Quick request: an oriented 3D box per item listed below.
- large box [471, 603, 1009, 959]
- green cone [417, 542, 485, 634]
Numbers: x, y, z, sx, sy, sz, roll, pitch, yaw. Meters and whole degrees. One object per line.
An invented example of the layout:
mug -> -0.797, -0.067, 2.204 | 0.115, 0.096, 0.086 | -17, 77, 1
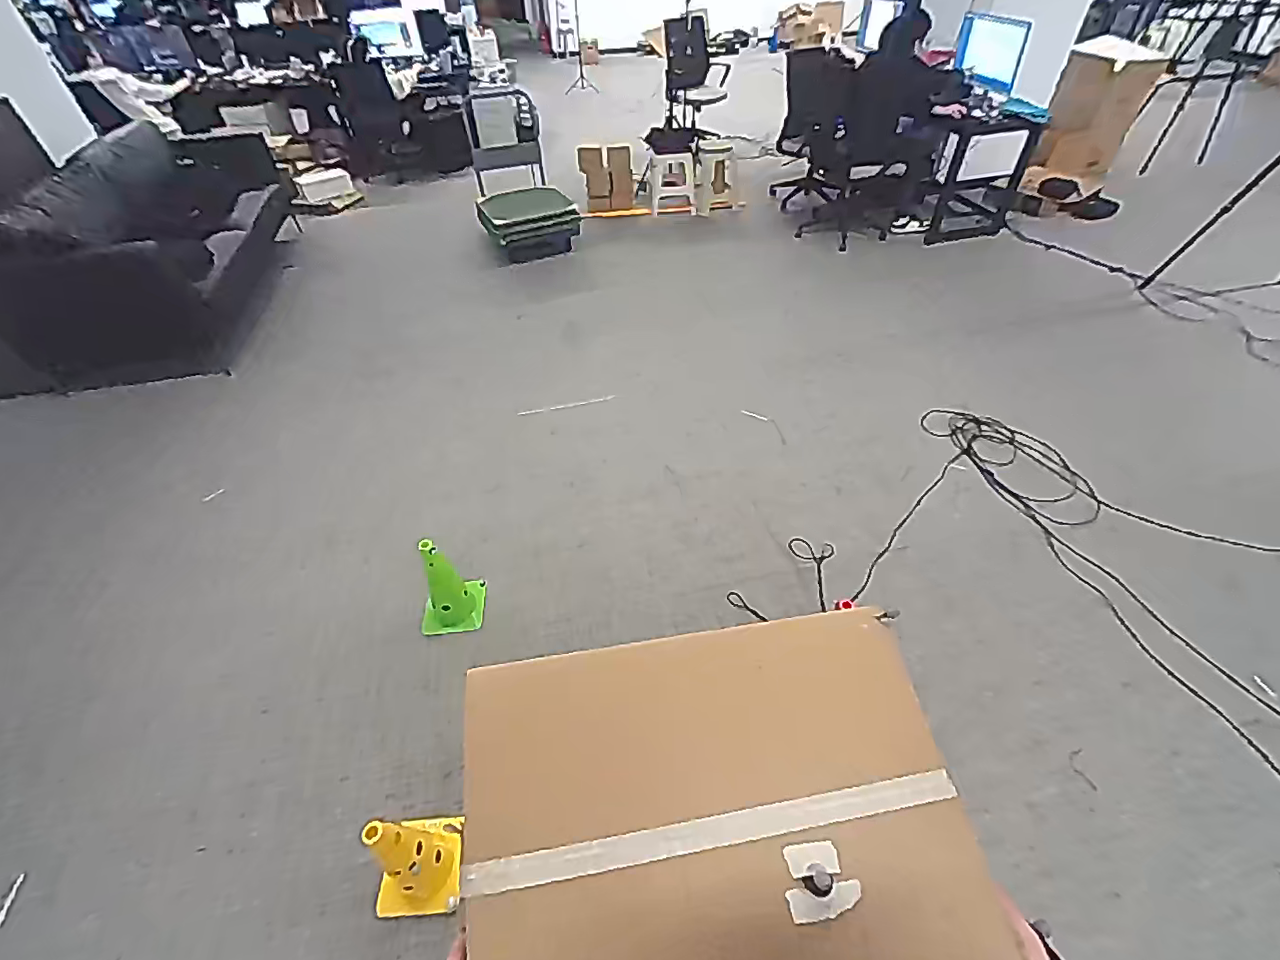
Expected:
large box -> 0.057, 0.356, 0.580 | 0.408, 0.320, 0.320 | -7, 61, -7
green cone -> -0.651, 0.321, 1.762 | 0.200, 0.368, 0.202 | -6, 47, -3
